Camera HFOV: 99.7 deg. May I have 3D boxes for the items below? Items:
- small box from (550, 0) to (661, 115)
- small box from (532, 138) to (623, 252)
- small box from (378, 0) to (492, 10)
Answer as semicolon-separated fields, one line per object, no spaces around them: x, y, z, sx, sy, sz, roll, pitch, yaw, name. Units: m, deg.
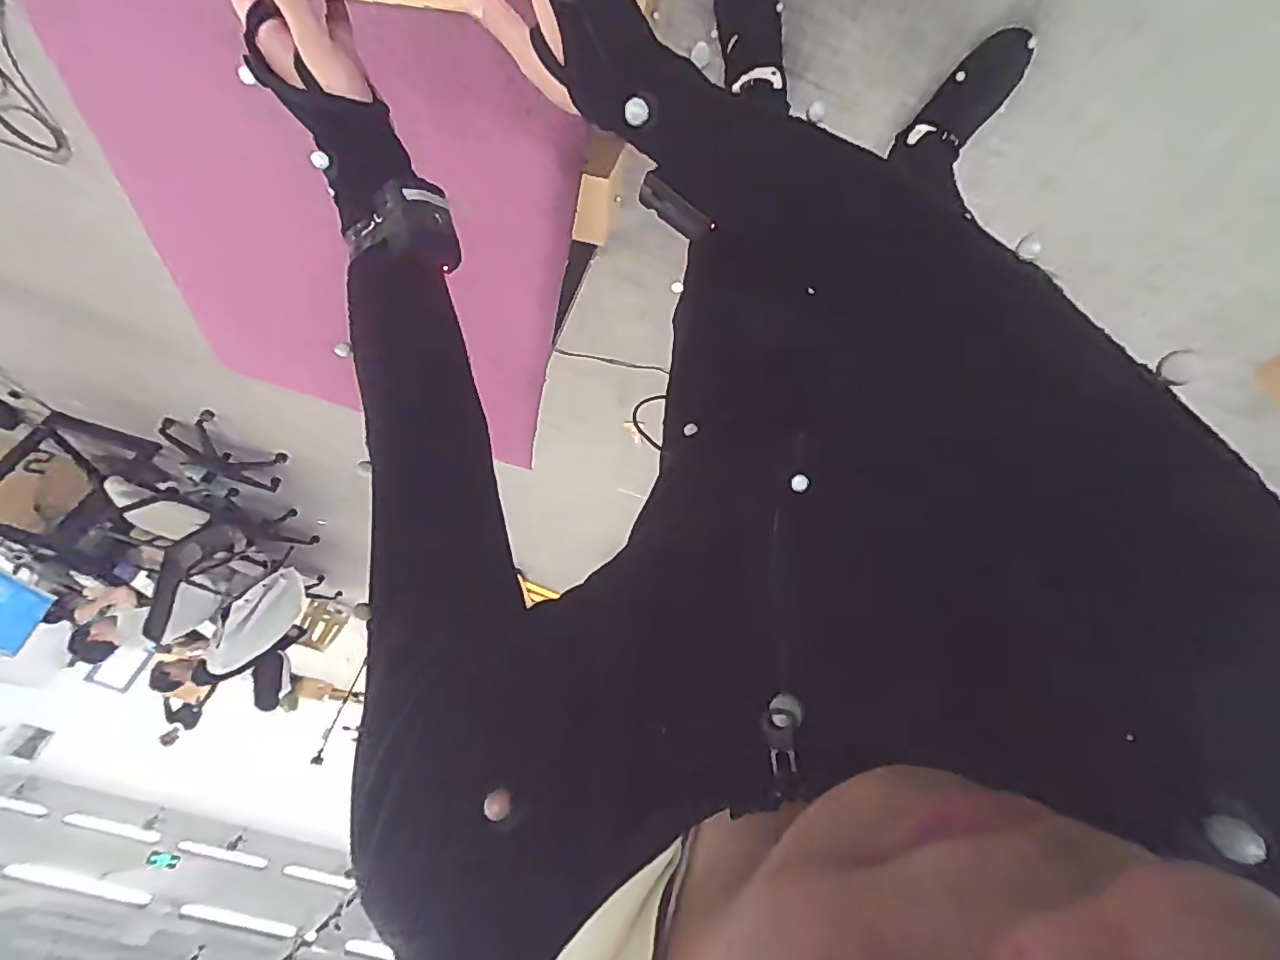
-0.064;-0.843;1.025;0.168;0.176;0.179;16;146;-1;small box
-0.146;-0.678;1.284;0.179;0.176;0.168;15;145;0;small box
-0.171;-0.440;0.348;0.179;0.176;0.168;12;145;7;small box
